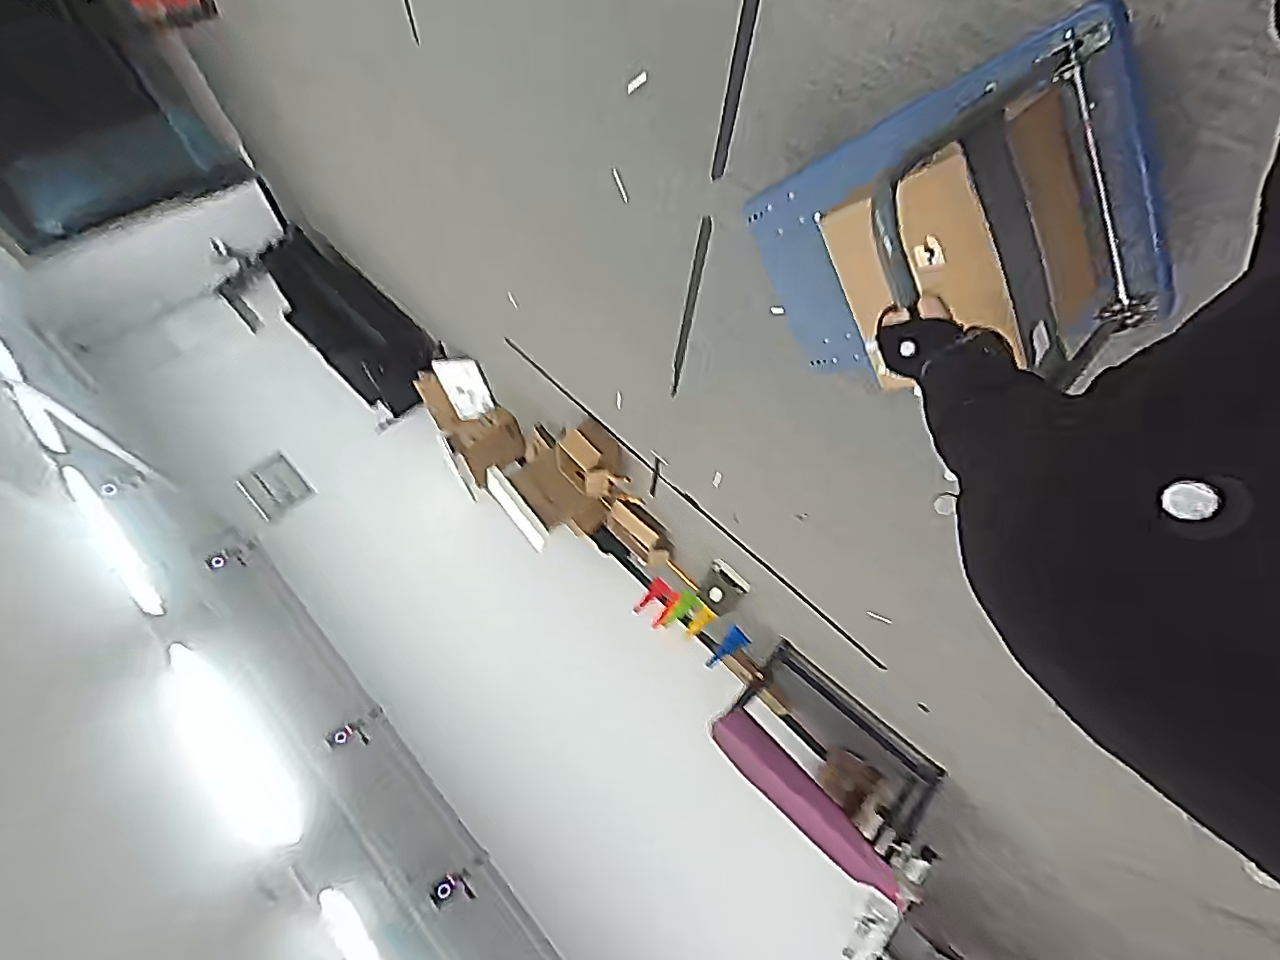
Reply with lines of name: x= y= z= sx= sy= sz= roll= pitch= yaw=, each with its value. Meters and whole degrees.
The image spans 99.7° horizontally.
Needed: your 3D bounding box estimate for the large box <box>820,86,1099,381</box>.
large box: x=0.644 y=-0.461 z=1.090 sx=0.320 sy=0.320 sz=0.408 roll=6 pitch=131 yaw=59
